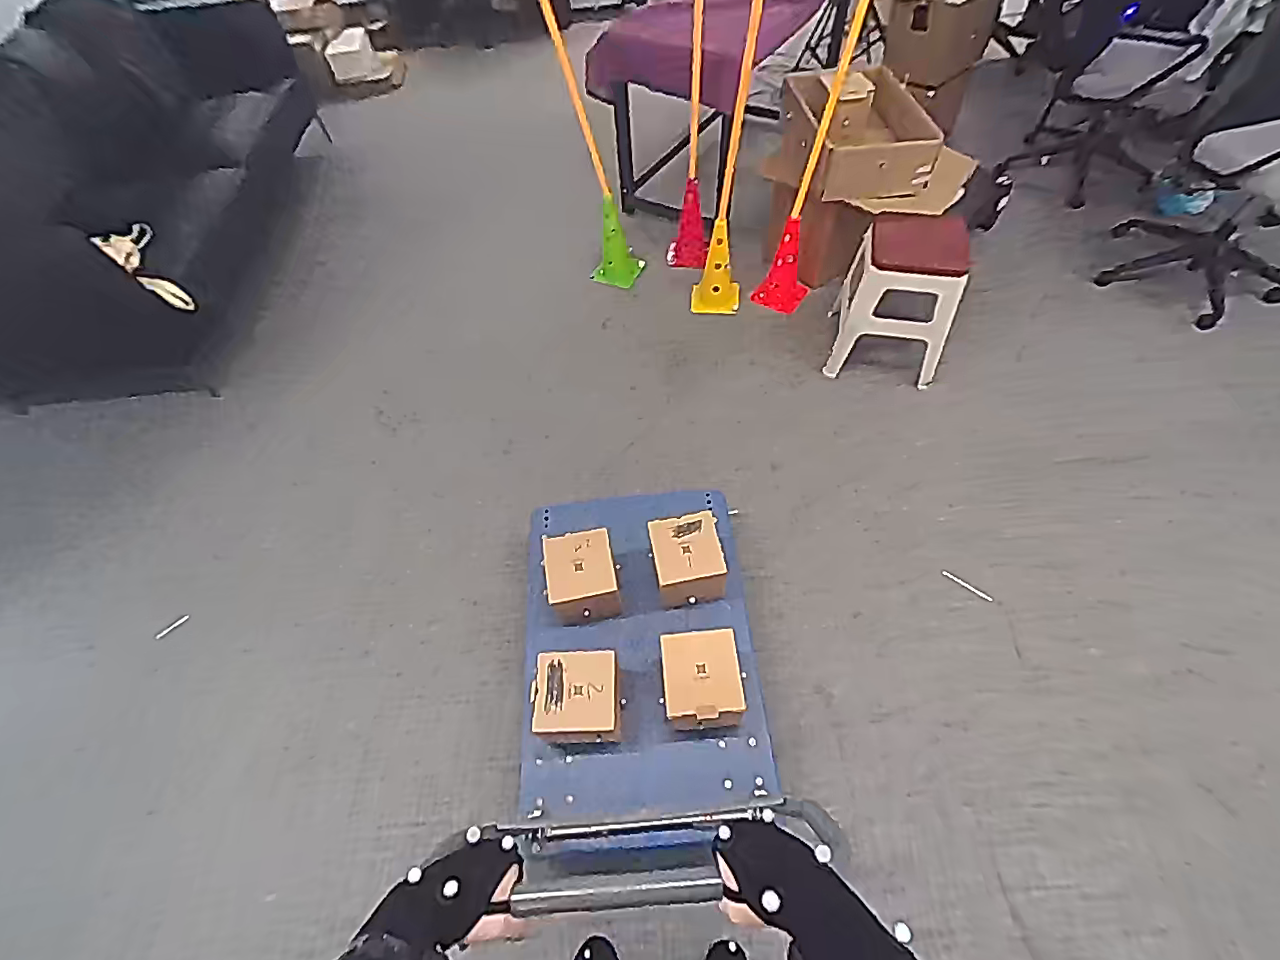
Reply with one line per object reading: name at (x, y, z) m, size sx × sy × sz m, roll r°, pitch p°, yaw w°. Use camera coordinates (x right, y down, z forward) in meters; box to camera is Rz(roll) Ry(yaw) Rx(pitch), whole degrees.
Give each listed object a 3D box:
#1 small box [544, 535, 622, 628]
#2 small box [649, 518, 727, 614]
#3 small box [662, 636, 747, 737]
small box at (-0.144, 0.267, 1.383) m, size 0.168 × 0.176 × 0.179 m, roll -10°, pitch 57°, yaw -3°
small box at (0.119, 0.224, 1.390) m, size 0.168 × 0.176 × 0.179 m, roll -11°, pitch 57°, yaw -2°
small box at (0.139, 0.471, 1.227) m, size 0.168 × 0.176 × 0.179 m, roll -6°, pitch 57°, yaw 1°
